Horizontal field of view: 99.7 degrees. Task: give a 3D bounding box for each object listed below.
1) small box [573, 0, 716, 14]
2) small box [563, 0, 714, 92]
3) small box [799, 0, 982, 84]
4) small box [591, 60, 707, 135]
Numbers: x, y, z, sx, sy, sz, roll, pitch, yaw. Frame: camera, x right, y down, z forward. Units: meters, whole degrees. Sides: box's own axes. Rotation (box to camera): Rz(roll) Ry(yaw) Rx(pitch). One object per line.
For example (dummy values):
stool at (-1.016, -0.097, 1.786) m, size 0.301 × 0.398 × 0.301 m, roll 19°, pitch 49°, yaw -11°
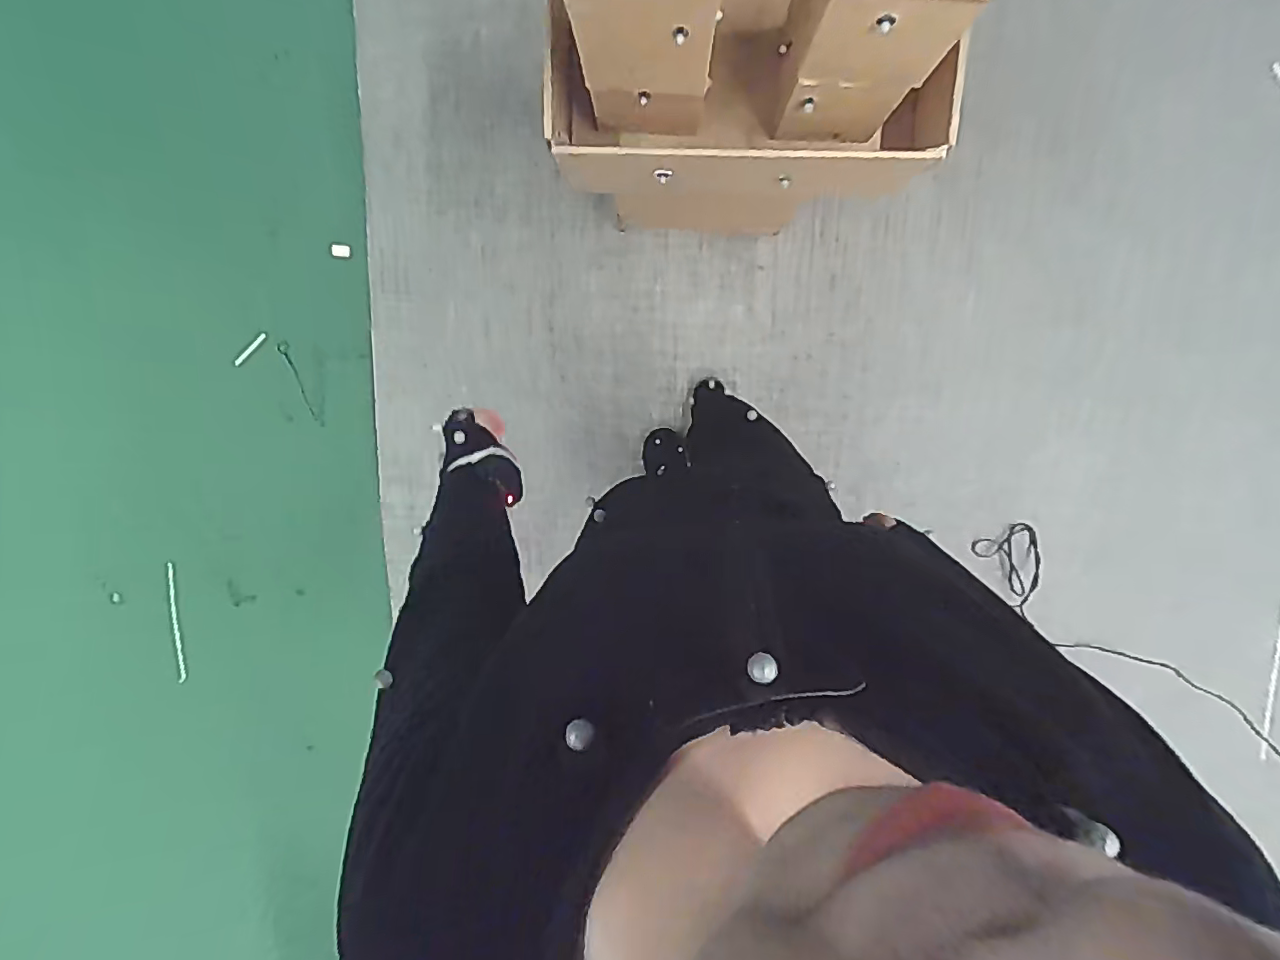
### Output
small box at (0.004, -0.598, 0.521) m, size 0.179 × 0.176 × 0.168 m, roll 5°, pitch 99°, yaw 2°
small box at (0.006, -0.626, 0.683) m, size 0.179 × 0.176 × 0.168 m, roll 4°, pitch 99°, yaw 0°
small box at (0.308, -0.627, 0.667) m, size 0.179 × 0.176 × 0.168 m, roll 5°, pitch 98°, yaw 0°
small box at (0.015, -0.665, 0.841) m, size 0.179 × 0.176 × 0.168 m, roll 3°, pitch 99°, yaw 1°
